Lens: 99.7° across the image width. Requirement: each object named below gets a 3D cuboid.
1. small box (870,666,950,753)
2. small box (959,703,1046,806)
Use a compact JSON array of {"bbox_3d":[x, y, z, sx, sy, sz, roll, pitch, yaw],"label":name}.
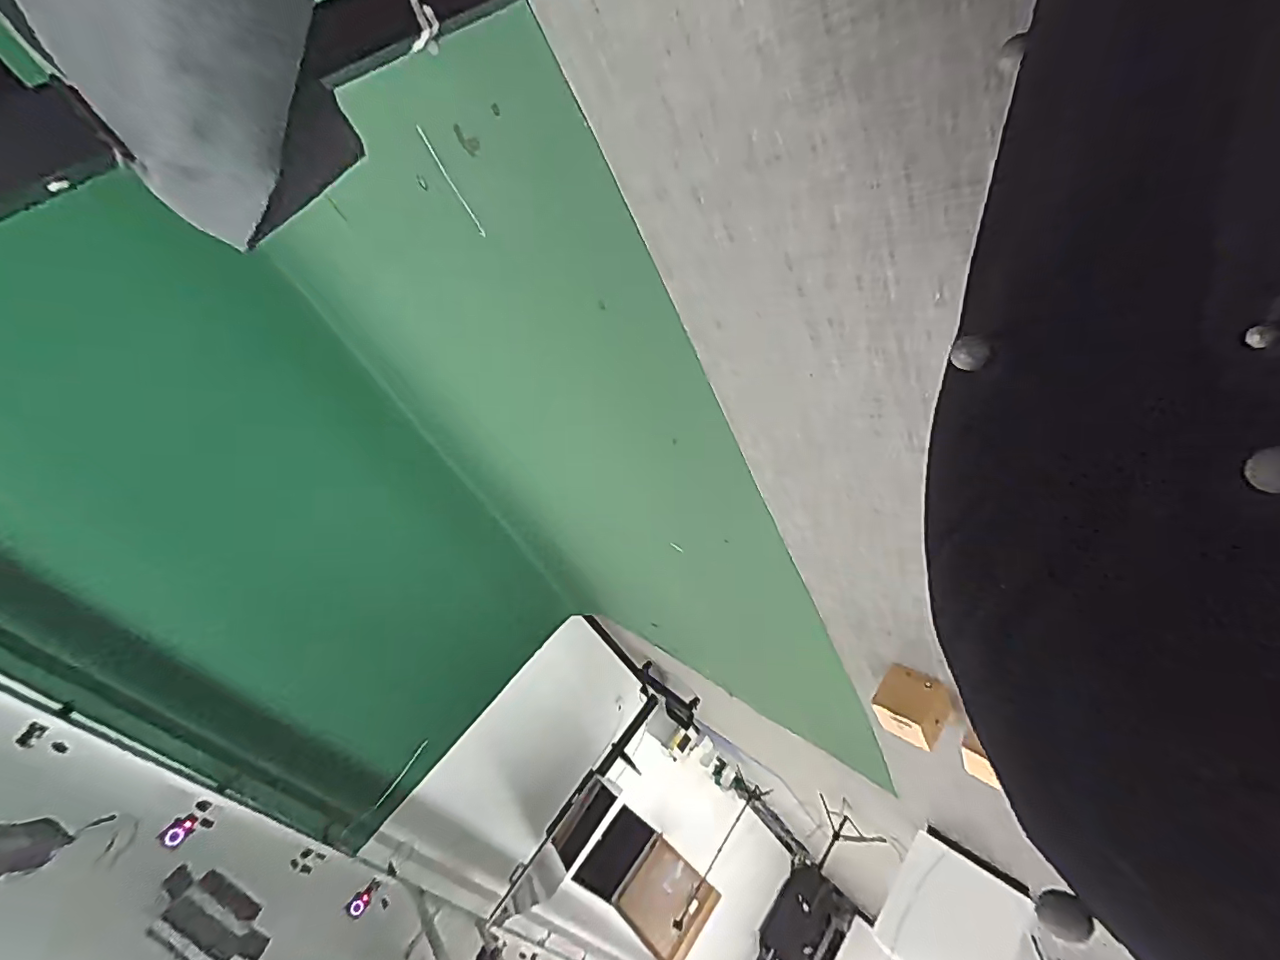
[{"bbox_3d":[0.896,0.750,1.786,0.168,0.176,0.179,14,144,52],"label":"small box"},{"bbox_3d":[1.062,0.797,1.580,0.168,0.176,0.179,17,145,49],"label":"small box"}]
